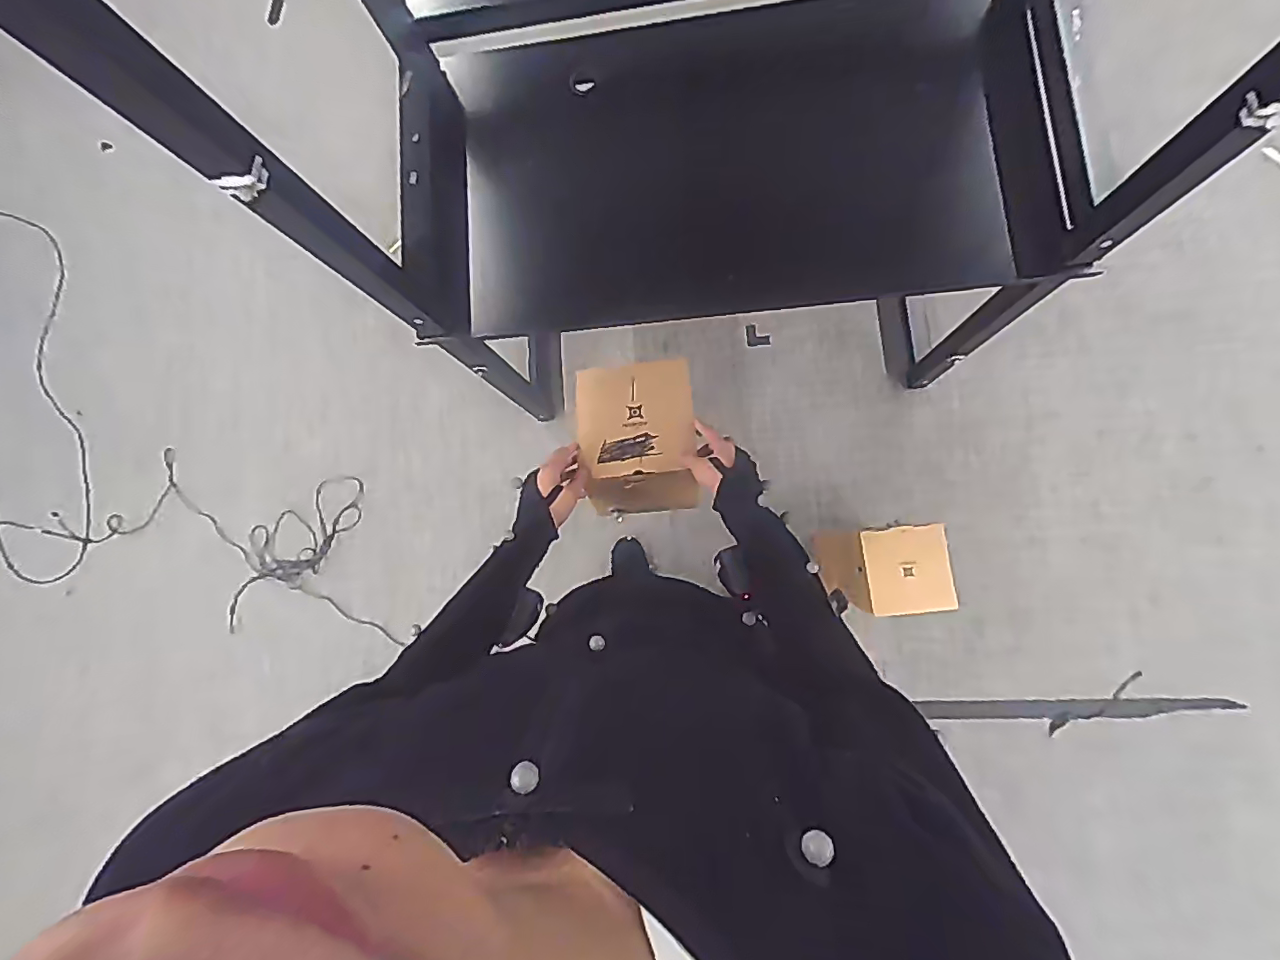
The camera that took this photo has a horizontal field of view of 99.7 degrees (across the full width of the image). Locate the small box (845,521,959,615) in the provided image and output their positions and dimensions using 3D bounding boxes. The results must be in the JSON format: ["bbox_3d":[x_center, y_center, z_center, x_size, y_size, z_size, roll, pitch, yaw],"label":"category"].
[{"bbox_3d":[0.557,0.185,1.169,0.168,0.176,0.179,-8,82,7],"label":"small box"}]

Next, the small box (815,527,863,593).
[{"bbox_3d":[0.595,0.216,1.493,0.179,0.176,0.168,-6,82,7],"label":"small box"}]

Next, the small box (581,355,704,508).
[{"bbox_3d":[0.008,-0.062,0.817,0.168,0.176,0.179,-5,69,5],"label":"small box"}]
